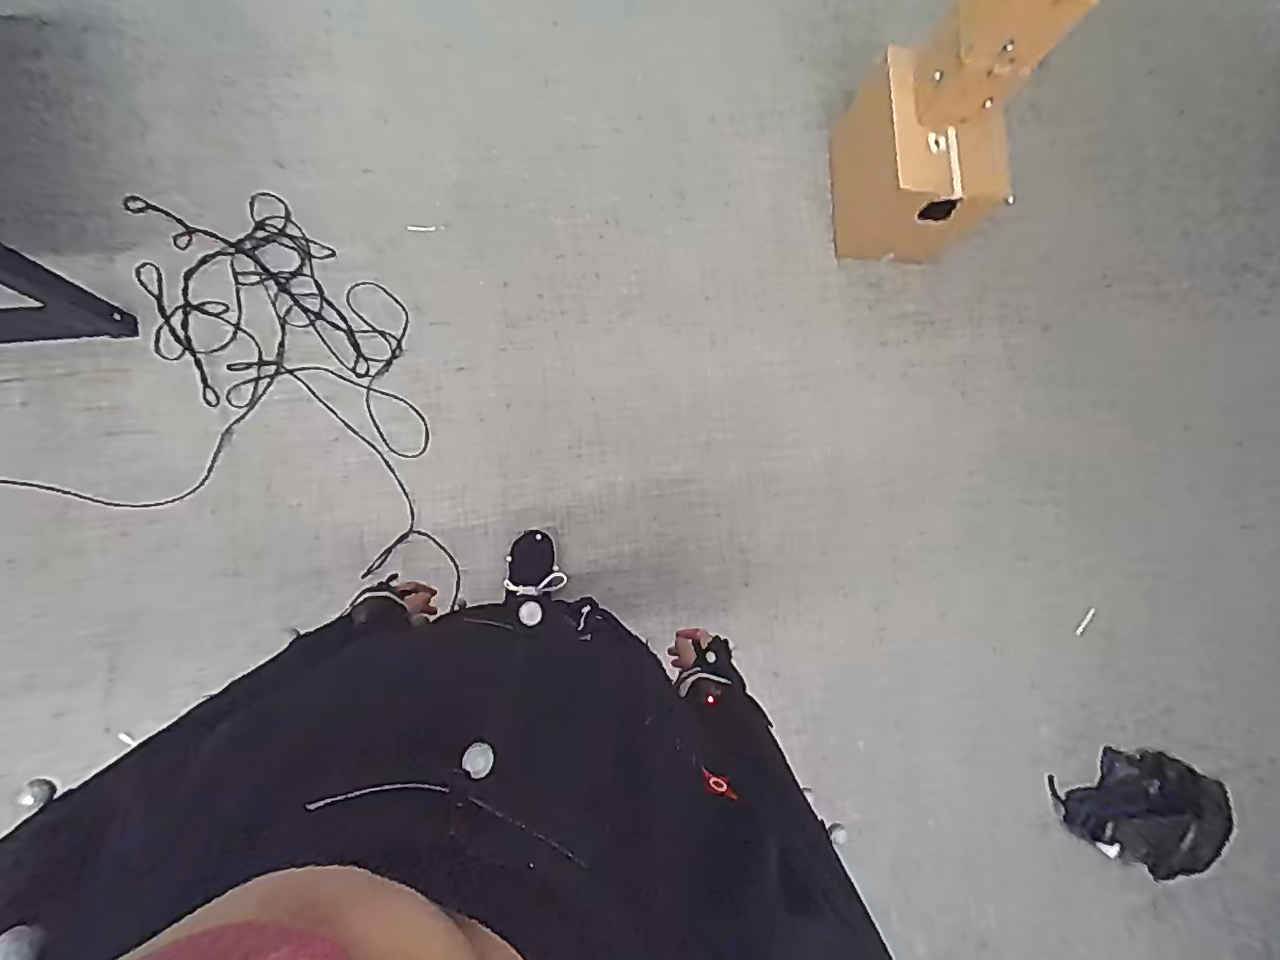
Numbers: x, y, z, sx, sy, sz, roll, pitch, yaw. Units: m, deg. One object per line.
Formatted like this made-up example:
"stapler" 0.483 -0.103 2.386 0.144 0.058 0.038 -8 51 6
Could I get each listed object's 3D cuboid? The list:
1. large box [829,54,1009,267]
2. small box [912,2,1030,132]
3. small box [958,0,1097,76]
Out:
"large box" 0.755 -0.867 1.512 0.320 0.320 0.408 0 83 -7
"small box" 0.775 -0.968 1.282 0.168 0.176 0.179 0 81 -10
"small box" 0.792 -0.997 1.123 0.168 0.176 0.179 2 83 -9
